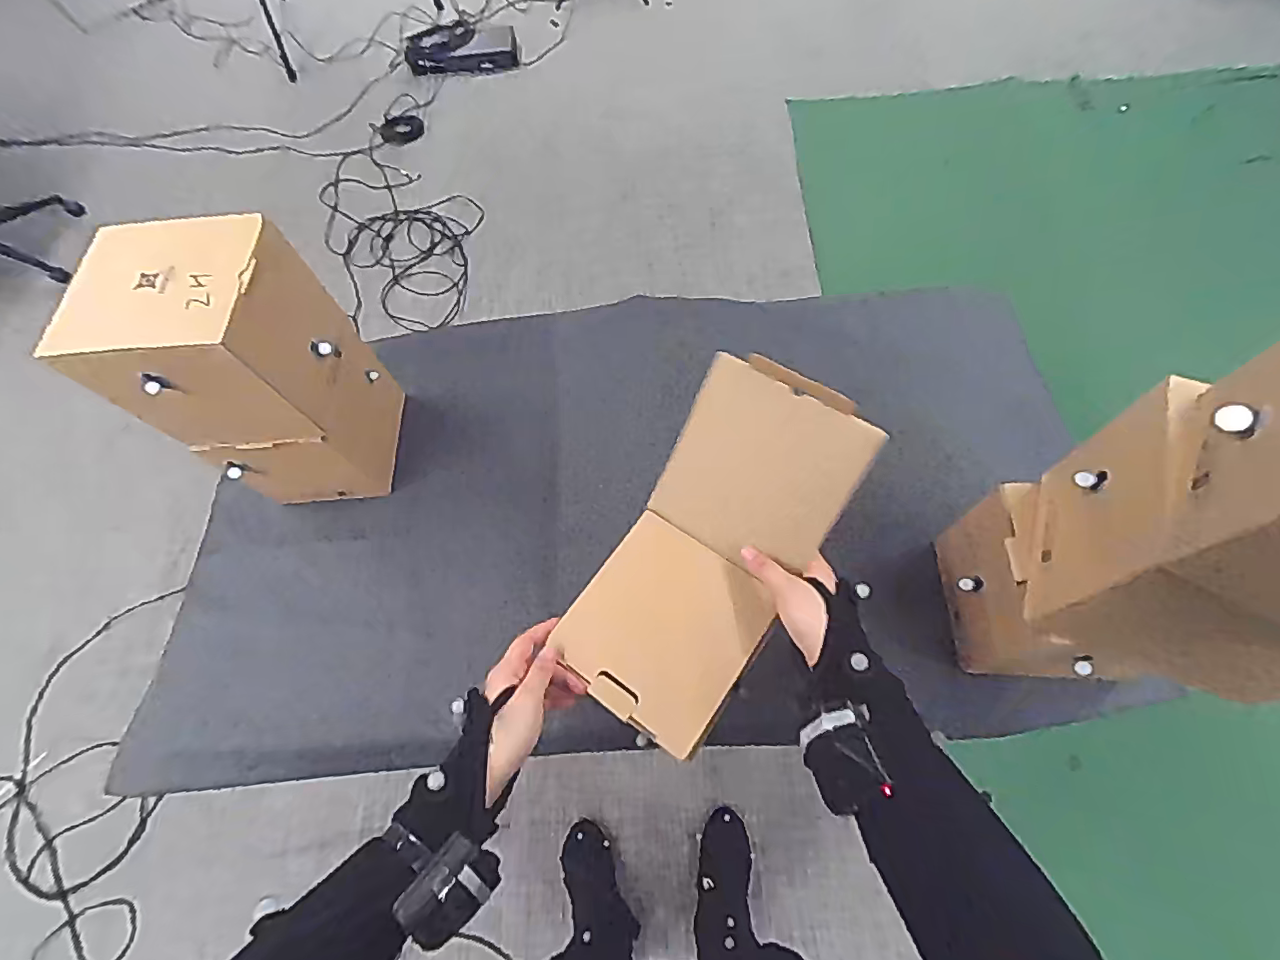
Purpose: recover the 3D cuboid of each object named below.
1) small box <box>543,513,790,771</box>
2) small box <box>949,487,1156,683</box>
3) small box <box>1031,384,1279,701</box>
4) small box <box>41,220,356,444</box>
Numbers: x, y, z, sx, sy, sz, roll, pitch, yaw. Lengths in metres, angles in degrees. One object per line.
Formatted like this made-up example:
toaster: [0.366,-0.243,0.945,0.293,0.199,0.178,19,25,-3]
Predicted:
small box: [0.032,0.172,0.567,0.168,0.176,0.179,35,72,20]
small box: [0.458,0.119,0.579,0.179,0.176,0.168,1,63,5]
small box: [0.451,0.058,0.427,0.179,0.176,0.168,21,65,13]
small box: [-0.448,-0.149,0.585,0.179,0.176,0.168,-4,66,2]
